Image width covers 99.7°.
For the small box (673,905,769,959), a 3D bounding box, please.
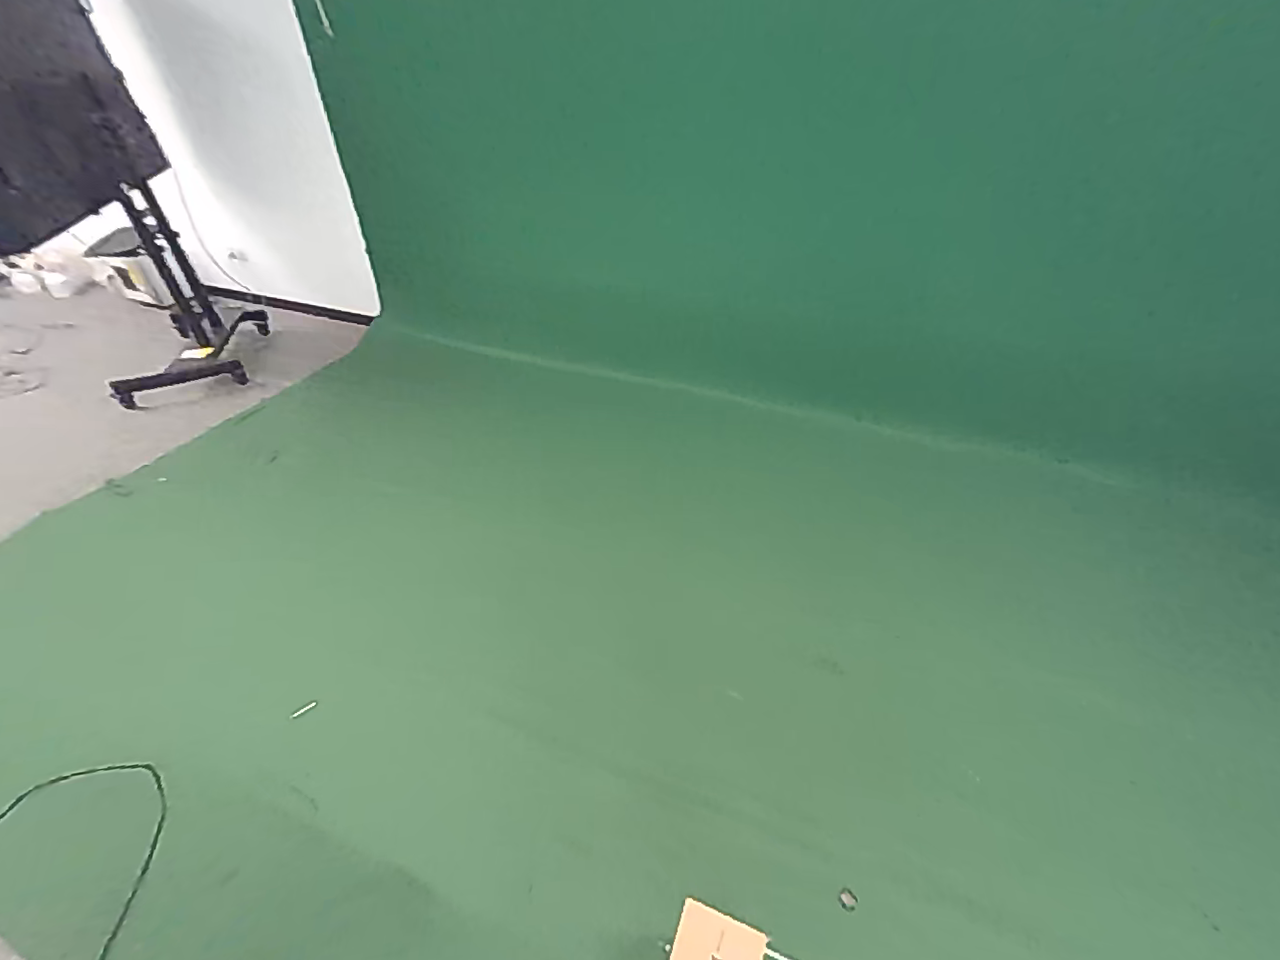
[{"bbox_3d":[0.140,0.981,1.046,0.168,0.176,0.179,15,40,17],"label":"small box"}]
